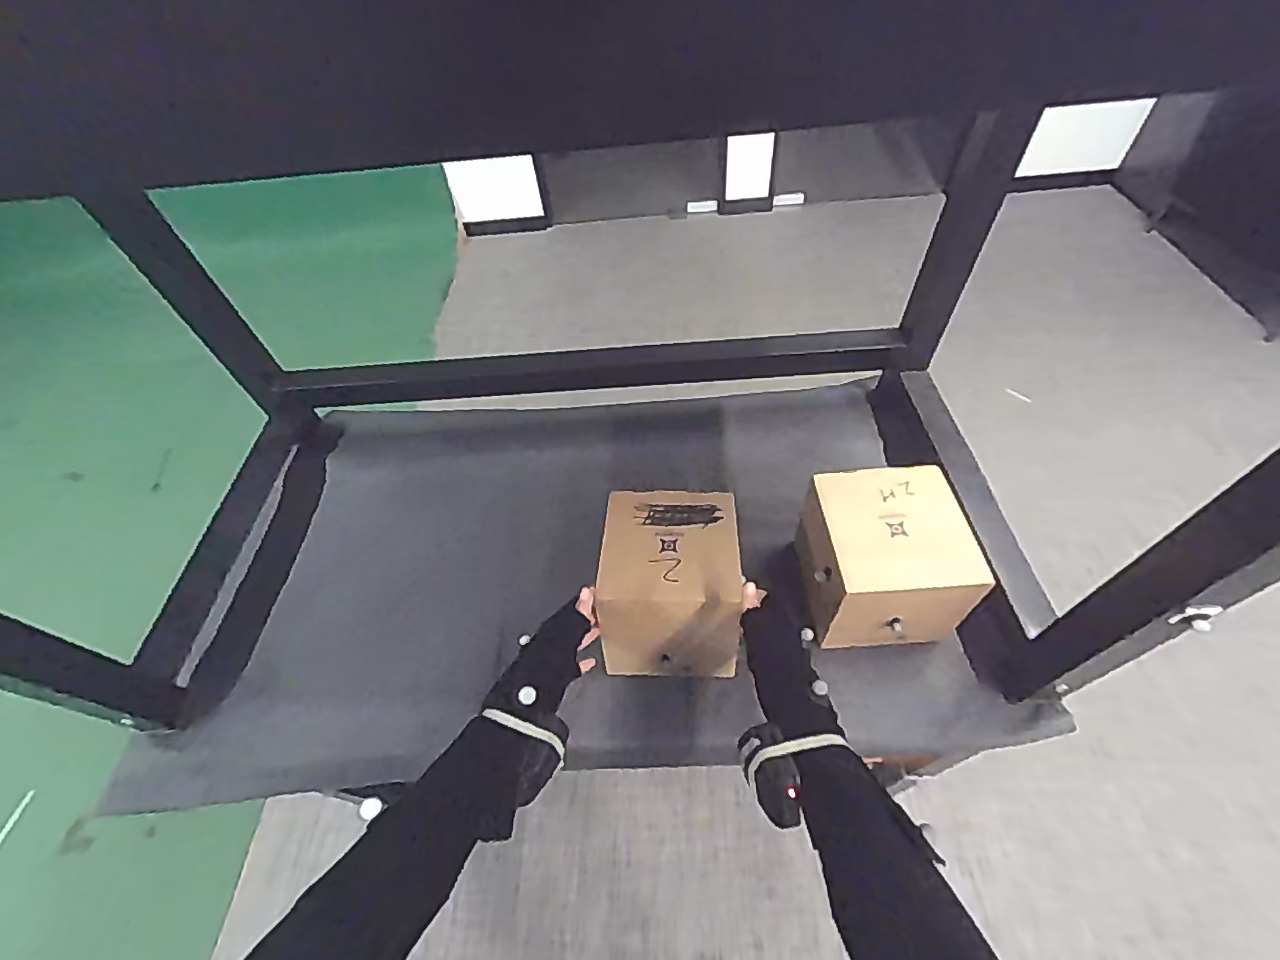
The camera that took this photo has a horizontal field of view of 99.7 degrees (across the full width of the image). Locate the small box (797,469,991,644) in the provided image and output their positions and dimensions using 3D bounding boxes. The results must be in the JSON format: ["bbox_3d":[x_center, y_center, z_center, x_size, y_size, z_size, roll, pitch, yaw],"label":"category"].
[{"bbox_3d":[0.318,0.109,0.721,0.168,0.176,0.179,-4,51,2],"label":"small box"}]
